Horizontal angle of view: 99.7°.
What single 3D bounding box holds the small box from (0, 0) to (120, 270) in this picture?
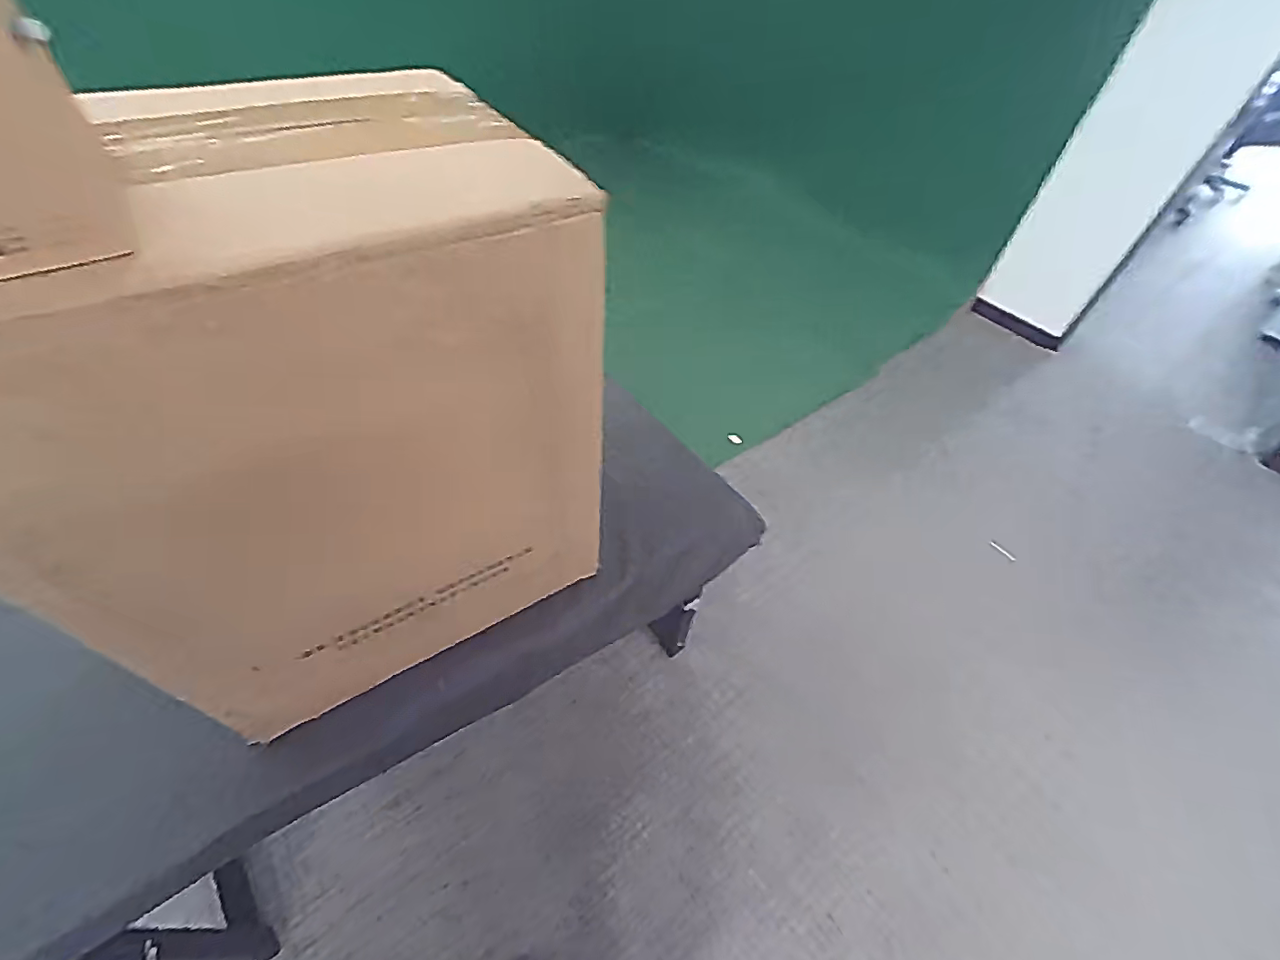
[{"bbox_3d":[-0.409,-0.214,0.263,0.168,0.176,0.179,-25,60,-22],"label":"small box"}]
